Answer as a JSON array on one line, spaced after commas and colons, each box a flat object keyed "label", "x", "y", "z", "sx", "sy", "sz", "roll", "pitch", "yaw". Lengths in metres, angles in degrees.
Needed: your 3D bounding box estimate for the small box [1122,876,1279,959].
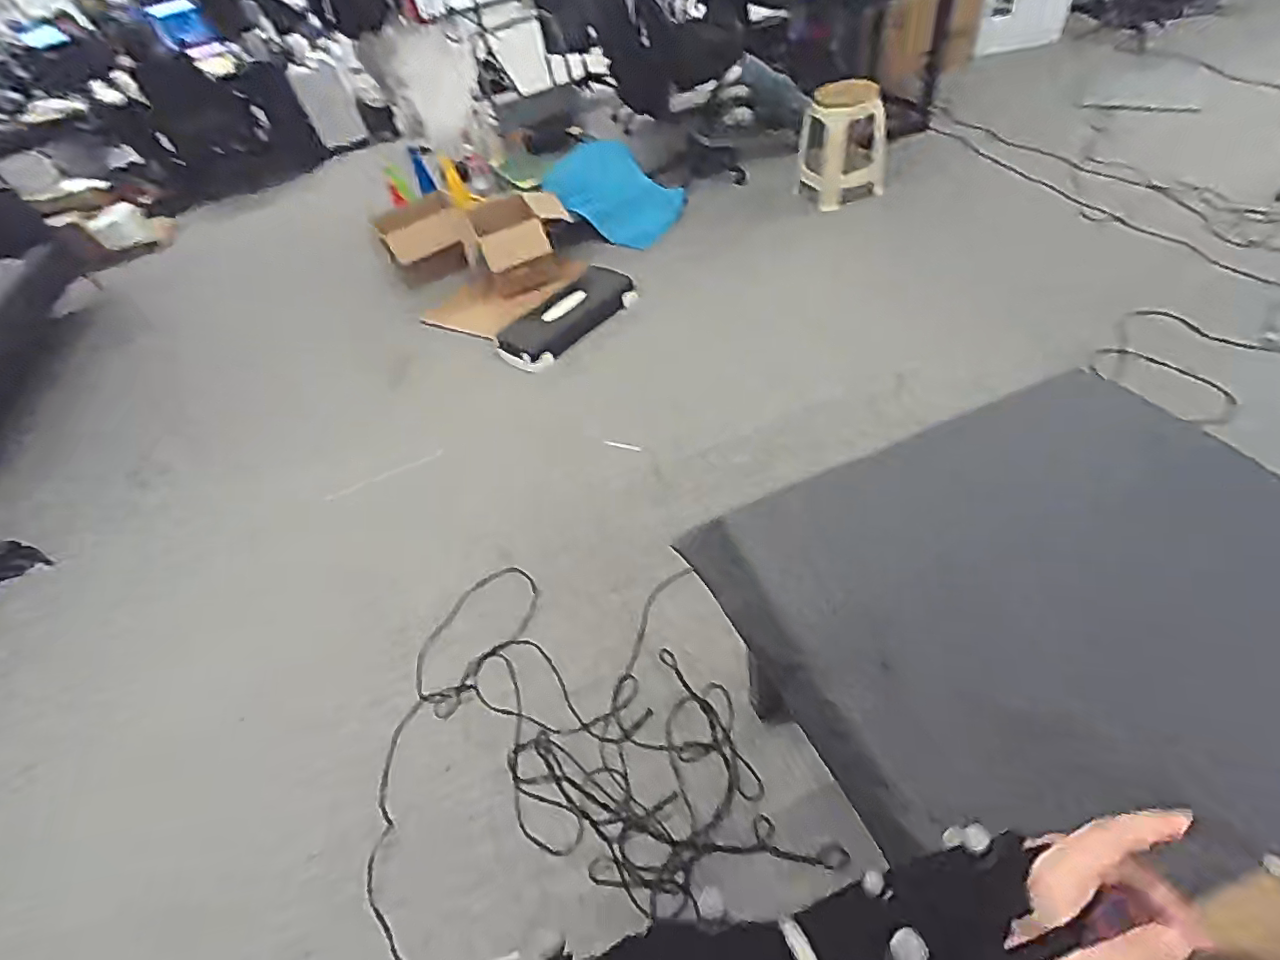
[{"label": "small box", "x": 0.460, "y": 0.354, "z": 0.322, "sx": 0.168, "sy": 0.176, "sz": 0.179, "roll": -20, "pitch": 49, "yaw": -5}]
